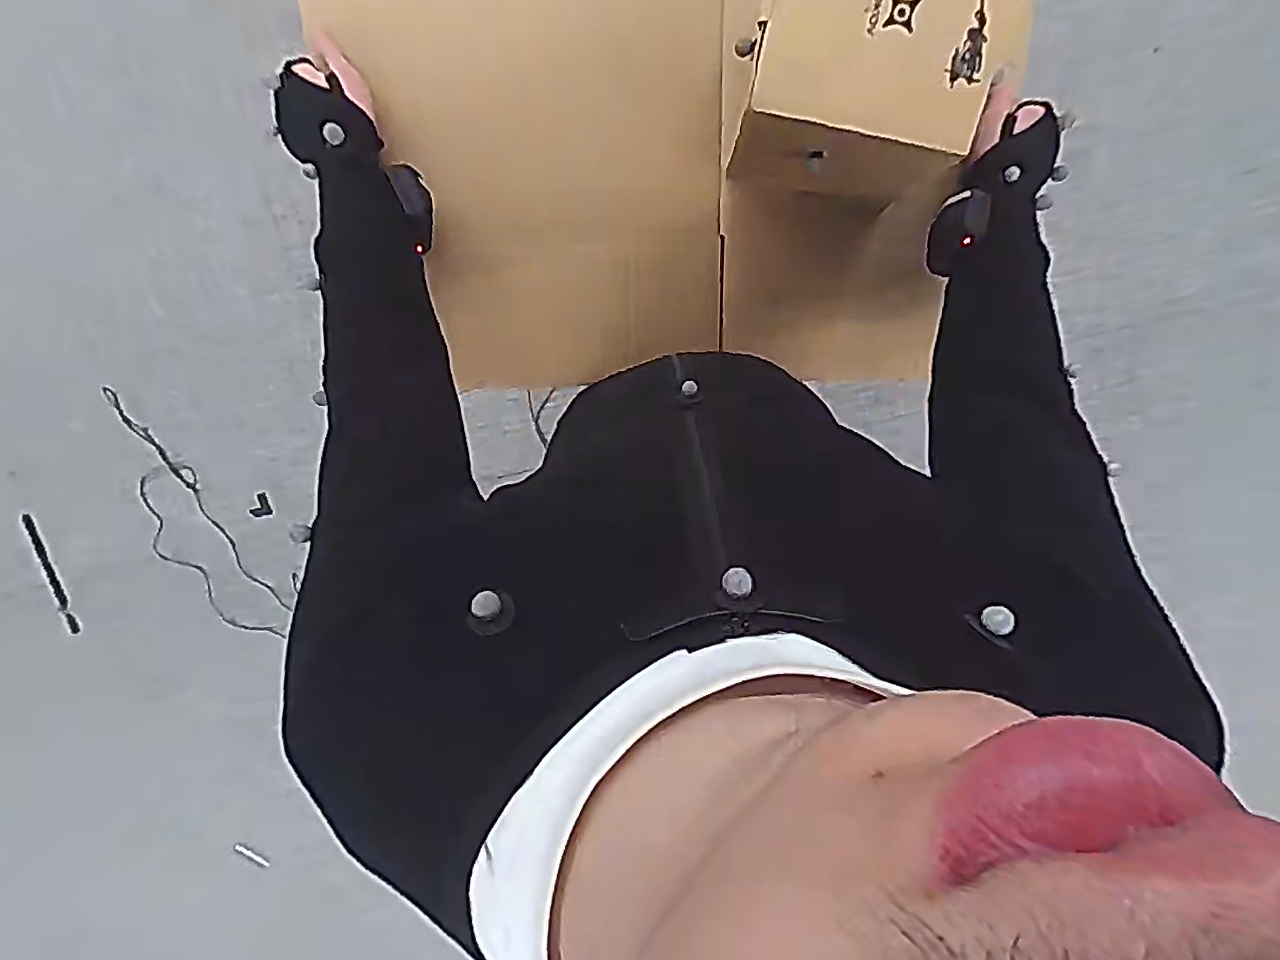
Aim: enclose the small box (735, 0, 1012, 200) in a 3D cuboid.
[{"bbox_3d":[0.190,-0.368,0.478,0.179,0.176,0.168,12,105,1],"label":"small box"}]
